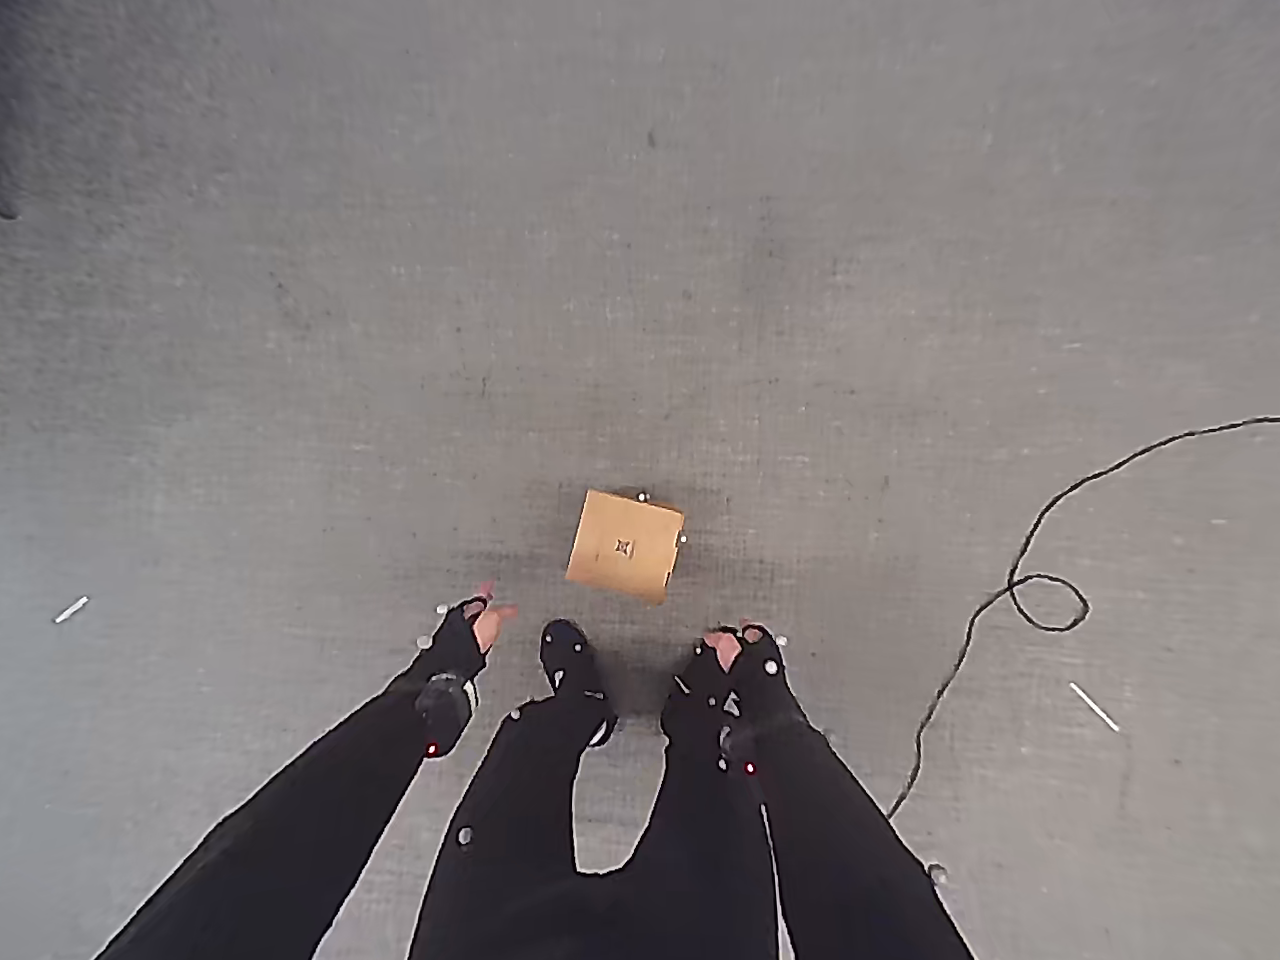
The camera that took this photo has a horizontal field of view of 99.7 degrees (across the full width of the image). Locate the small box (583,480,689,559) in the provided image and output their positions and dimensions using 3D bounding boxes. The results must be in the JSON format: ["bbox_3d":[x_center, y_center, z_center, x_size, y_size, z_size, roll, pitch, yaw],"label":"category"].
[{"bbox_3d":[-0.002,0.107,1.180,0.179,0.176,0.168,-20,86,6],"label":"small box"}]

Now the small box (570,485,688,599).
[{"bbox_3d":[-0.012,0.111,1.025,0.179,0.176,0.168,15,89,7],"label":"small box"}]
